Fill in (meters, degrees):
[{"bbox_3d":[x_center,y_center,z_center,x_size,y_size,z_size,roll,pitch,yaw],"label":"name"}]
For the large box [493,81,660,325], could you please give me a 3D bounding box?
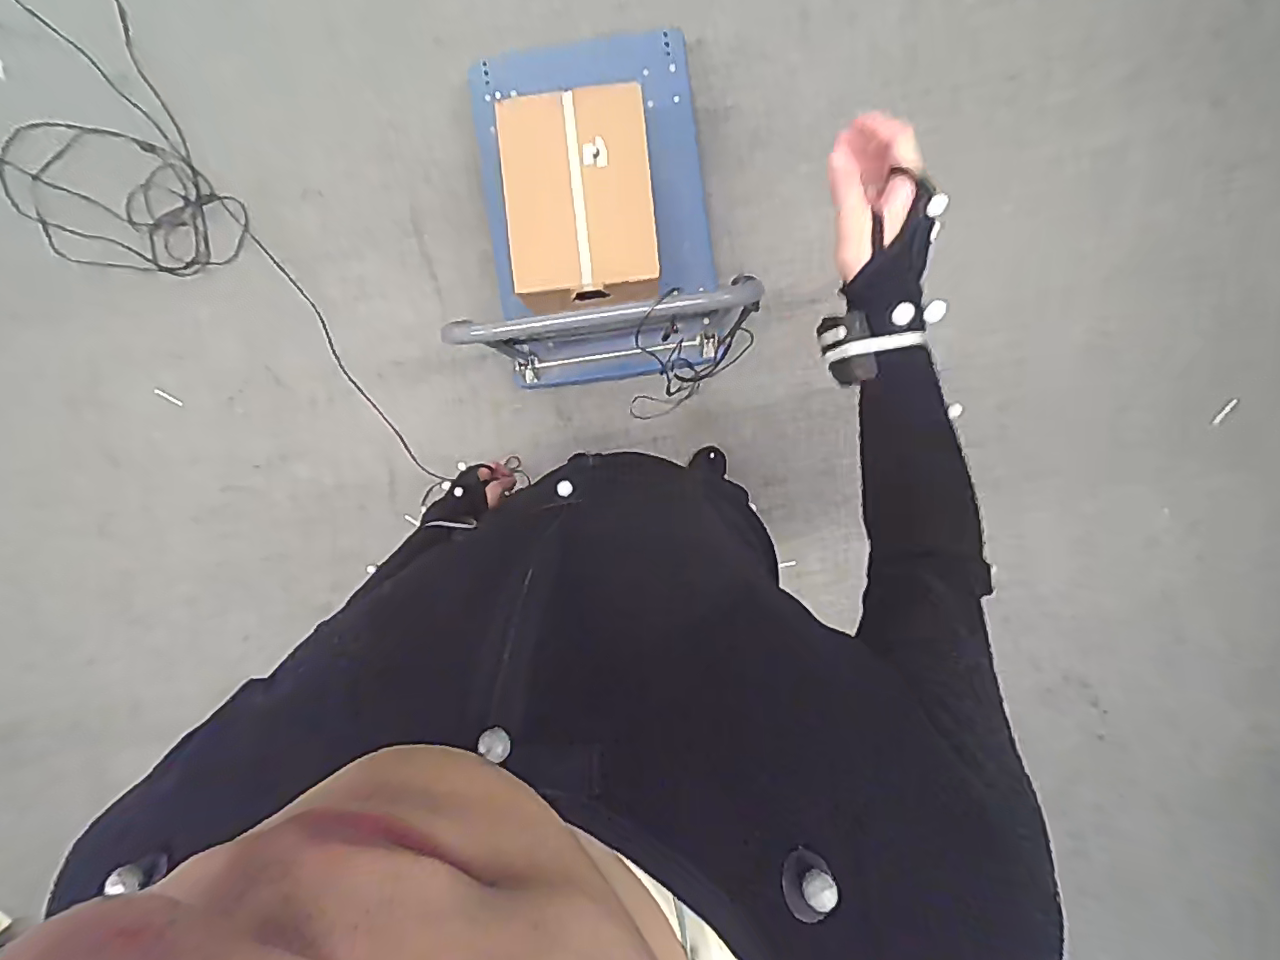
[{"bbox_3d":[-0.127,-0.615,1.271,0.320,0.320,0.408,-6,93,1],"label":"large box"}]
